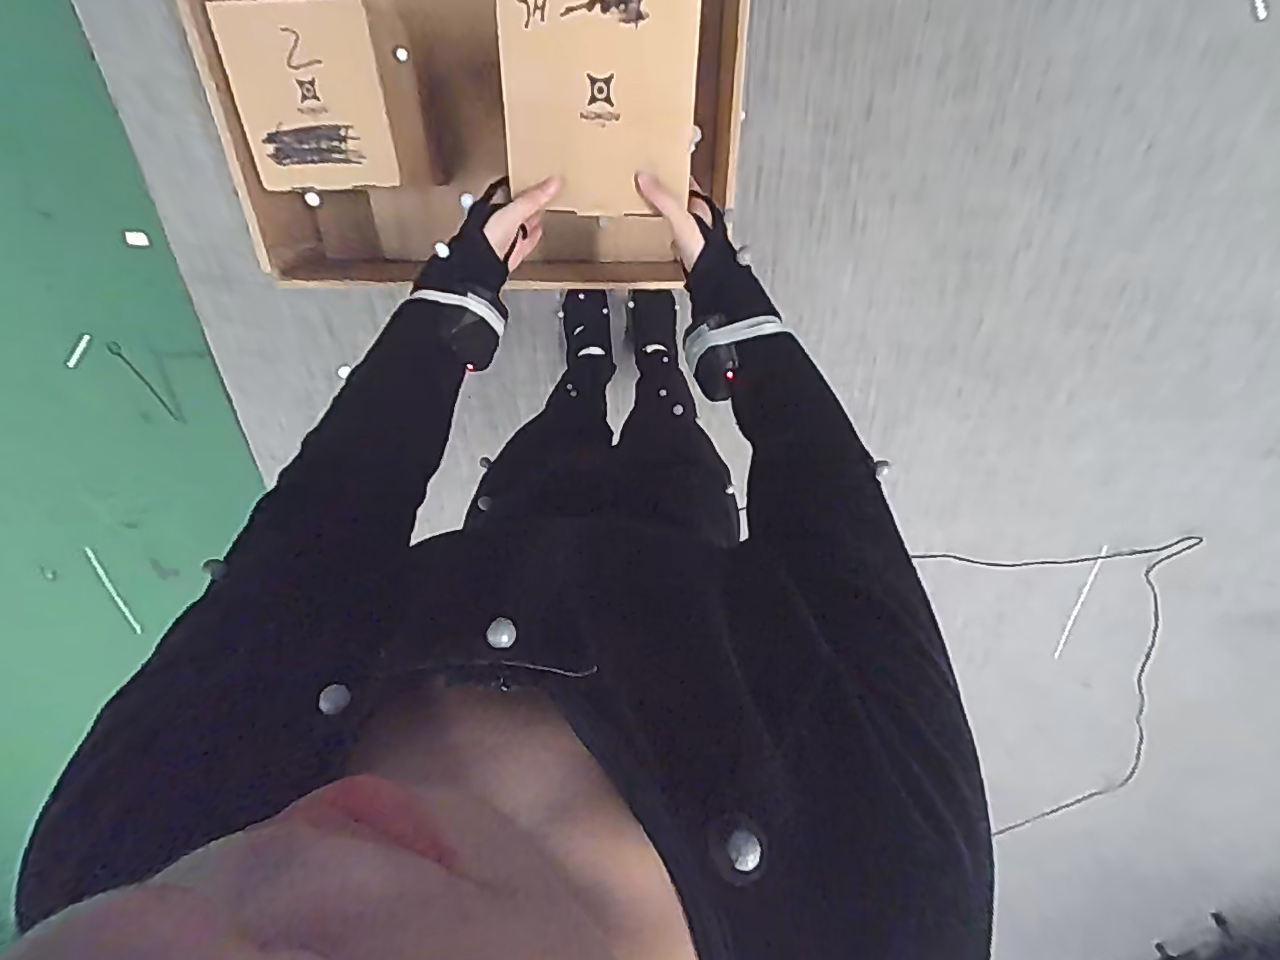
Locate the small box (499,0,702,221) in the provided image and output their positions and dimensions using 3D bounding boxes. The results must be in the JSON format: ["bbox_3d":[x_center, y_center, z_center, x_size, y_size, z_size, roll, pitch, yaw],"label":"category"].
[{"bbox_3d":[-0.033,-0.363,0.534,0.168,0.176,0.179,2,119,-1],"label":"small box"}]
